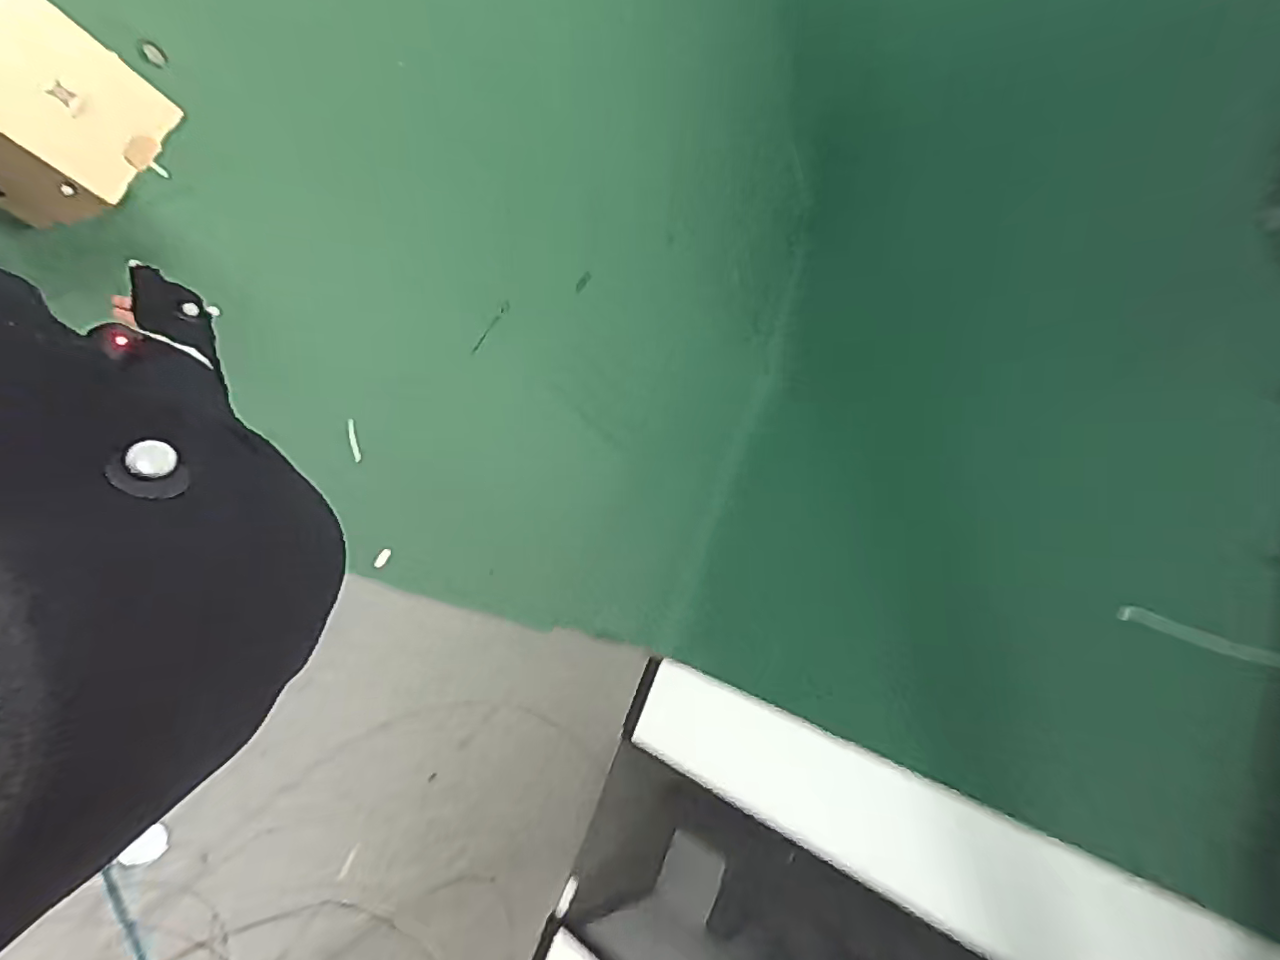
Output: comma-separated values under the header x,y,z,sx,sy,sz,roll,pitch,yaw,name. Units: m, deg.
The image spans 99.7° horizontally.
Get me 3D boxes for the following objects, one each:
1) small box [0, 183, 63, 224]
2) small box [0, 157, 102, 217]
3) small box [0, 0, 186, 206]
x,y,z,sx,sy,sz,roll,pitch,yaw,name
-1.020,-0.549,0.885,0.168,0.176,0.179,41,69,-52,small box
-0.883,-0.515,0.795,0.179,0.176,0.168,45,64,-52,small box
-0.757,-0.484,0.701,0.179,0.176,0.168,40,69,-53,small box
